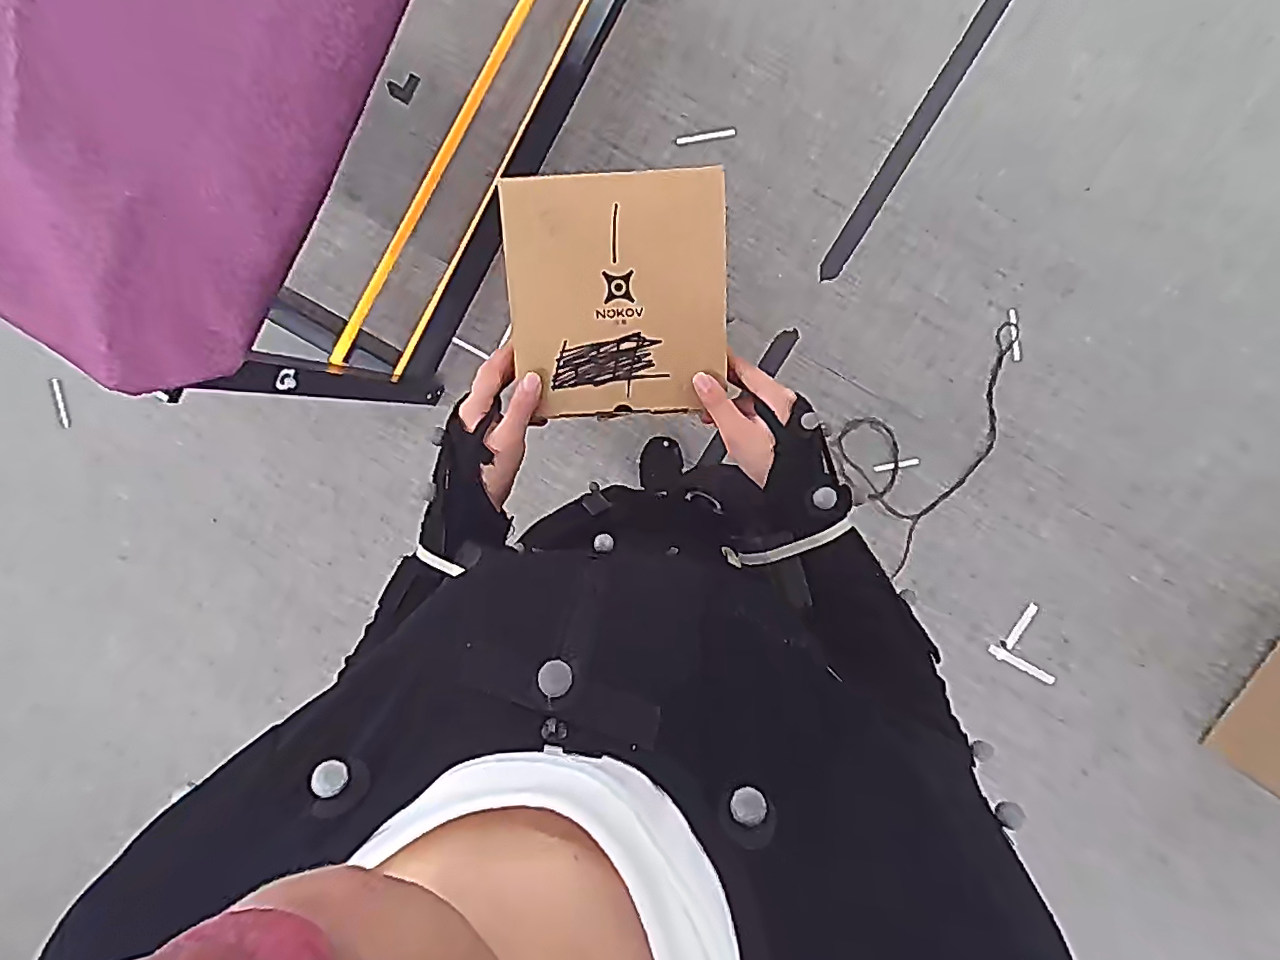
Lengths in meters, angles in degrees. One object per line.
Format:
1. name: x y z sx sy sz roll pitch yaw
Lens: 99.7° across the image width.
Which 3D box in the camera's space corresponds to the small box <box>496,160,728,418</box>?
1. small box: -0.016 -0.153 0.472 0.168 0.176 0.179 -2 102 1
